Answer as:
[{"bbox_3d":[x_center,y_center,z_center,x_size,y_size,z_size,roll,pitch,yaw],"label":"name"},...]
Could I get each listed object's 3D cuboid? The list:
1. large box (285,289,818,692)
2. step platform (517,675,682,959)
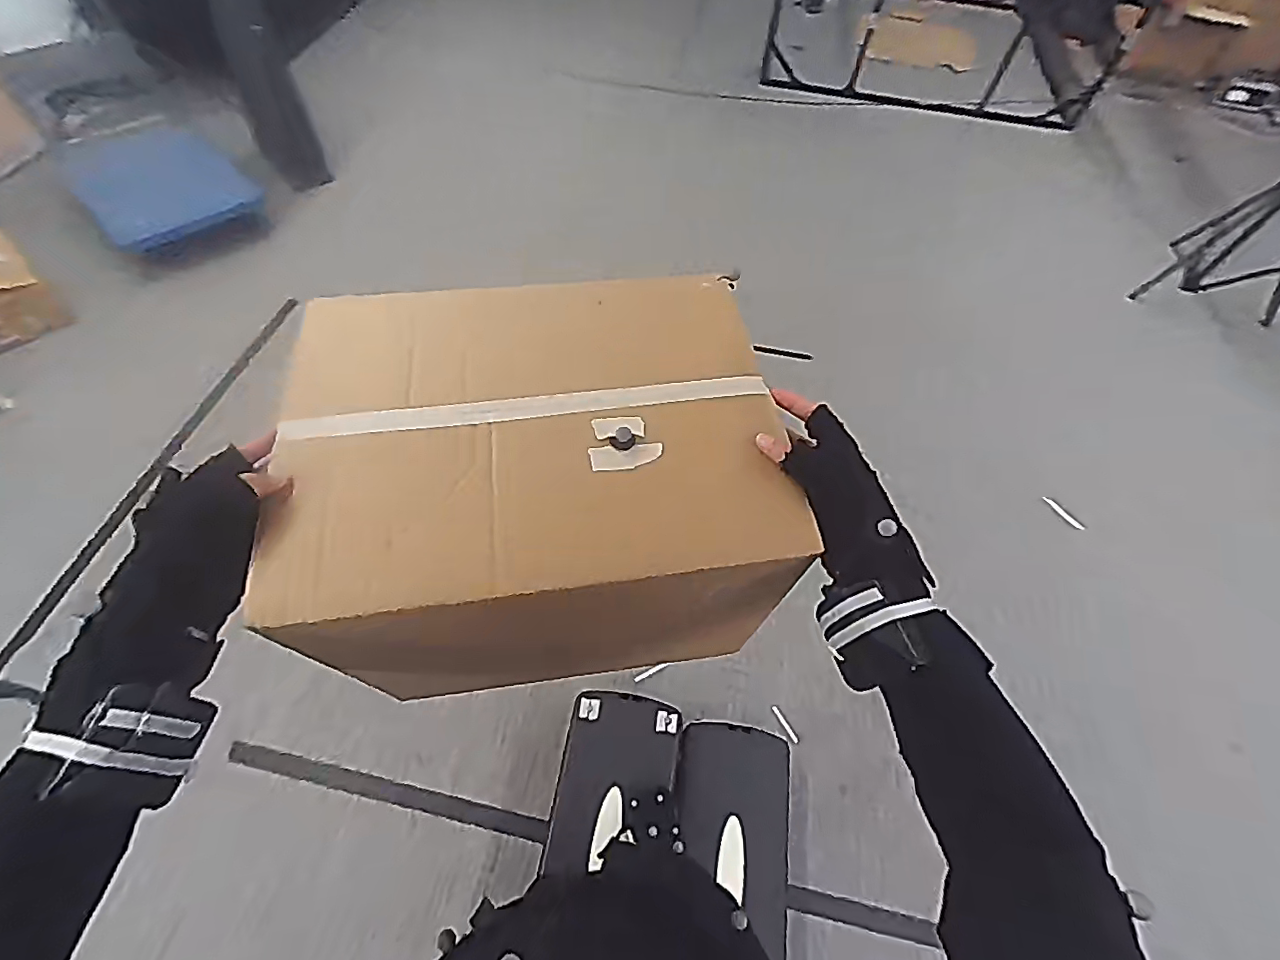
[{"bbox_3d":[-0.085,0.022,0.600,0.408,0.320,0.320,-5,60,-7],"label":"large box"},{"bbox_3d":[-0.079,0.835,1.298,0.286,0.204,0.684,9,57,3],"label":"step platform"}]
